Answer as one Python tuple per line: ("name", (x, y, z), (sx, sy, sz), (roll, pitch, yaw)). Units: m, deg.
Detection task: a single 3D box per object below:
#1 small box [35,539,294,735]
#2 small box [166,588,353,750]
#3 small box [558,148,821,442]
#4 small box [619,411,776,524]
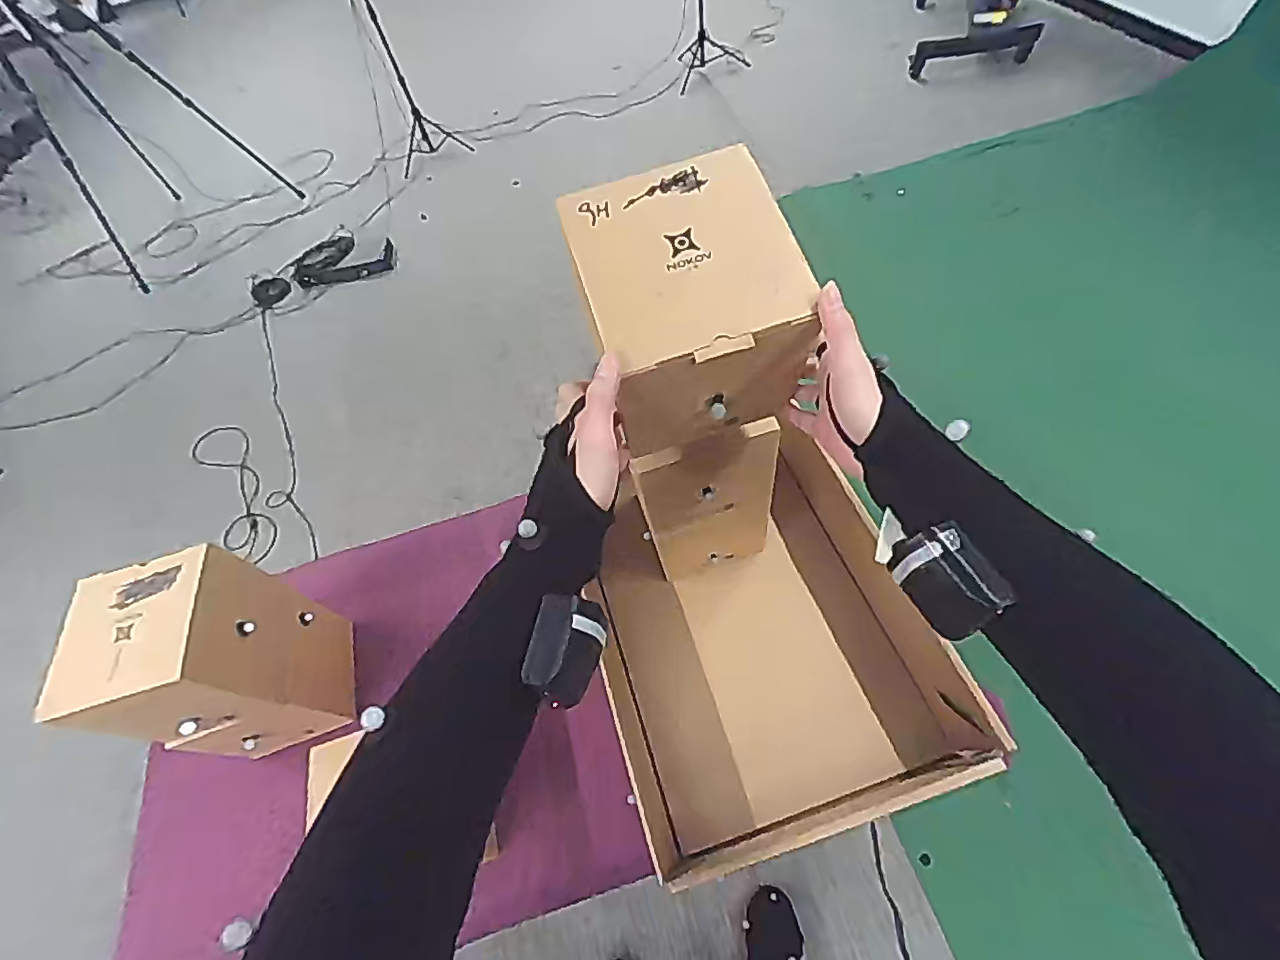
("small box", (-0.581, 0.205, 0.694), (0.168, 0.176, 0.179), (-16, 57, -1))
("small box", (-0.565, 0.297, 0.830), (0.168, 0.176, 0.179), (-20, 56, -3))
("small box", (0.039, -0.149, 0.494), (0.168, 0.176, 0.179), (-17, 72, -2))
("small box", (0.063, -0.060, 0.693), (0.168, 0.176, 0.179), (-17, 58, -1))
